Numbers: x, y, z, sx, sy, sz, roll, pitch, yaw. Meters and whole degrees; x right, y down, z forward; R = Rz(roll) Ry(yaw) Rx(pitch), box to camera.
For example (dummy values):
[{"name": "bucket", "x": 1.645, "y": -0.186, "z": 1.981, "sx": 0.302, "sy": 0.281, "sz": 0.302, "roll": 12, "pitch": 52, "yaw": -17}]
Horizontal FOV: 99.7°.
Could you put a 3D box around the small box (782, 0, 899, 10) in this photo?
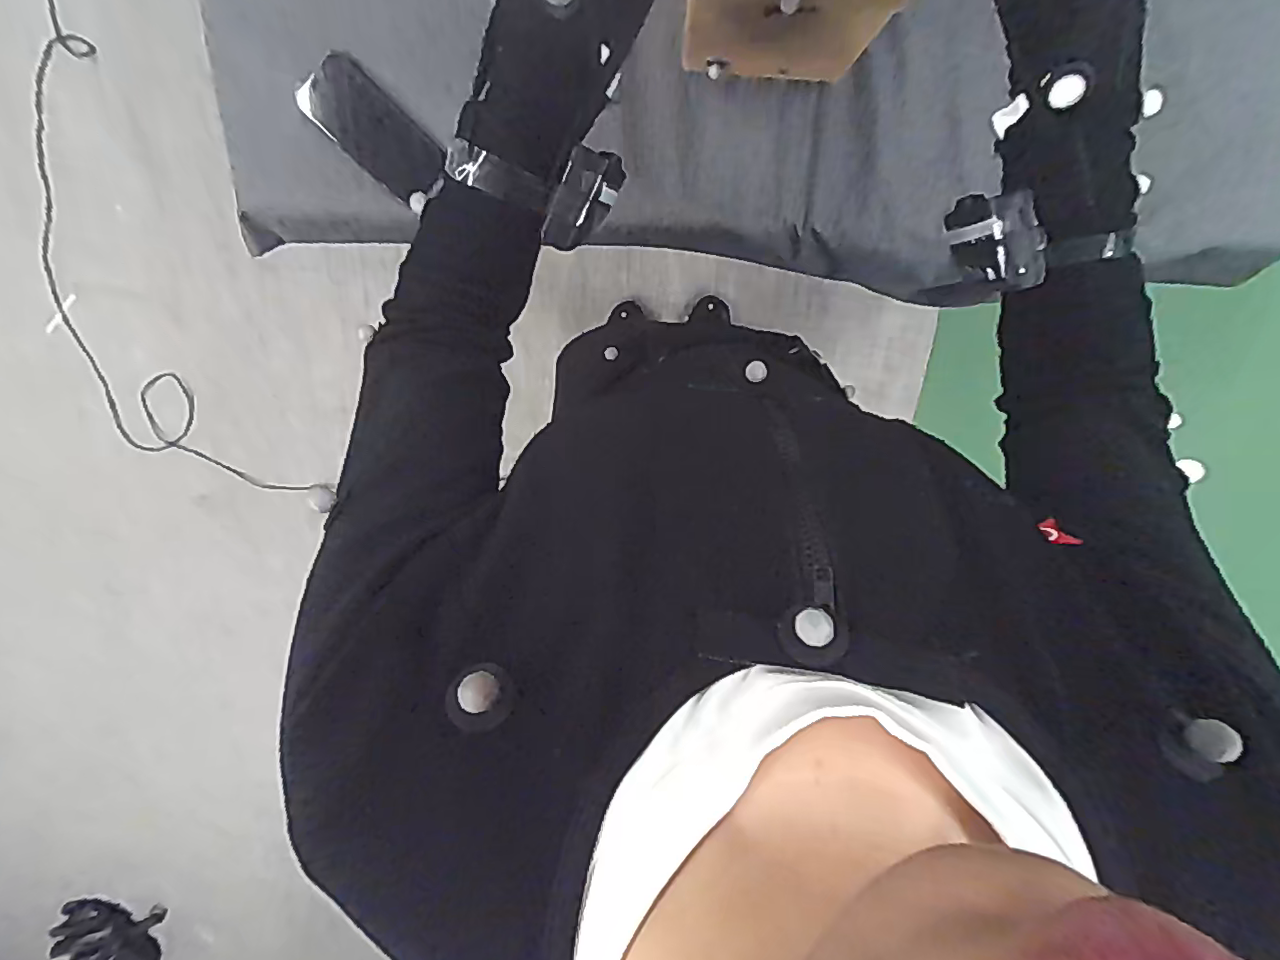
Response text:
[{"name": "small box", "x": 0.128, "y": -0.426, "z": 0.315, "sx": 0.168, "sy": 0.176, "sz": 0.179, "roll": 4, "pitch": 111, "yaw": 1}]

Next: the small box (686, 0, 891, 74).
[{"name": "small box", "x": 0.131, "y": -0.484, "z": 0.466, "sx": 0.168, "sy": 0.176, "sz": 0.179, "roll": 5, "pitch": 109, "yaw": 0}]
